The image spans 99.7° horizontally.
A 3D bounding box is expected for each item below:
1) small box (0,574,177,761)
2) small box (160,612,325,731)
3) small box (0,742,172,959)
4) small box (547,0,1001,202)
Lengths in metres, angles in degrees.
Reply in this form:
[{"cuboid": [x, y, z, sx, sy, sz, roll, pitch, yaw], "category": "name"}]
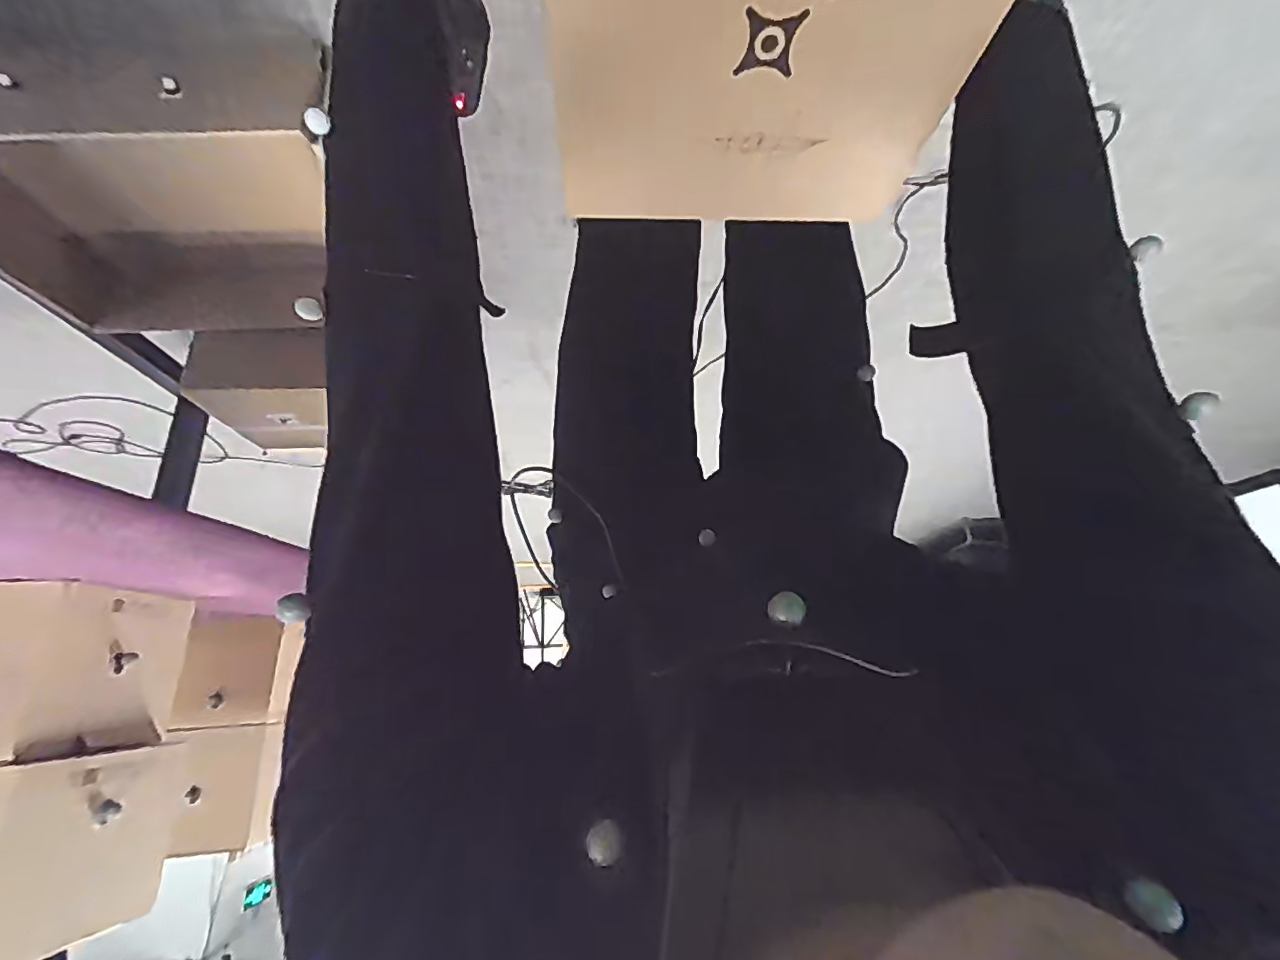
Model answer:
[{"cuboid": [-0.644, 0.197, 0.573, 0.179, 0.176, 0.168, -3, 159, 0], "category": "small box"}, {"cuboid": [-0.663, 0.320, 0.907, 0.179, 0.176, 0.168, -2, 159, -6], "category": "small box"}, {"cuboid": [-0.613, 0.354, 0.523, 0.179, 0.176, 0.168, -5, 160, 6], "category": "small box"}, {"cuboid": [0.044, -0.246, 0.217, 0.168, 0.176, 0.179, -1, 161, -4], "category": "small box"}]
